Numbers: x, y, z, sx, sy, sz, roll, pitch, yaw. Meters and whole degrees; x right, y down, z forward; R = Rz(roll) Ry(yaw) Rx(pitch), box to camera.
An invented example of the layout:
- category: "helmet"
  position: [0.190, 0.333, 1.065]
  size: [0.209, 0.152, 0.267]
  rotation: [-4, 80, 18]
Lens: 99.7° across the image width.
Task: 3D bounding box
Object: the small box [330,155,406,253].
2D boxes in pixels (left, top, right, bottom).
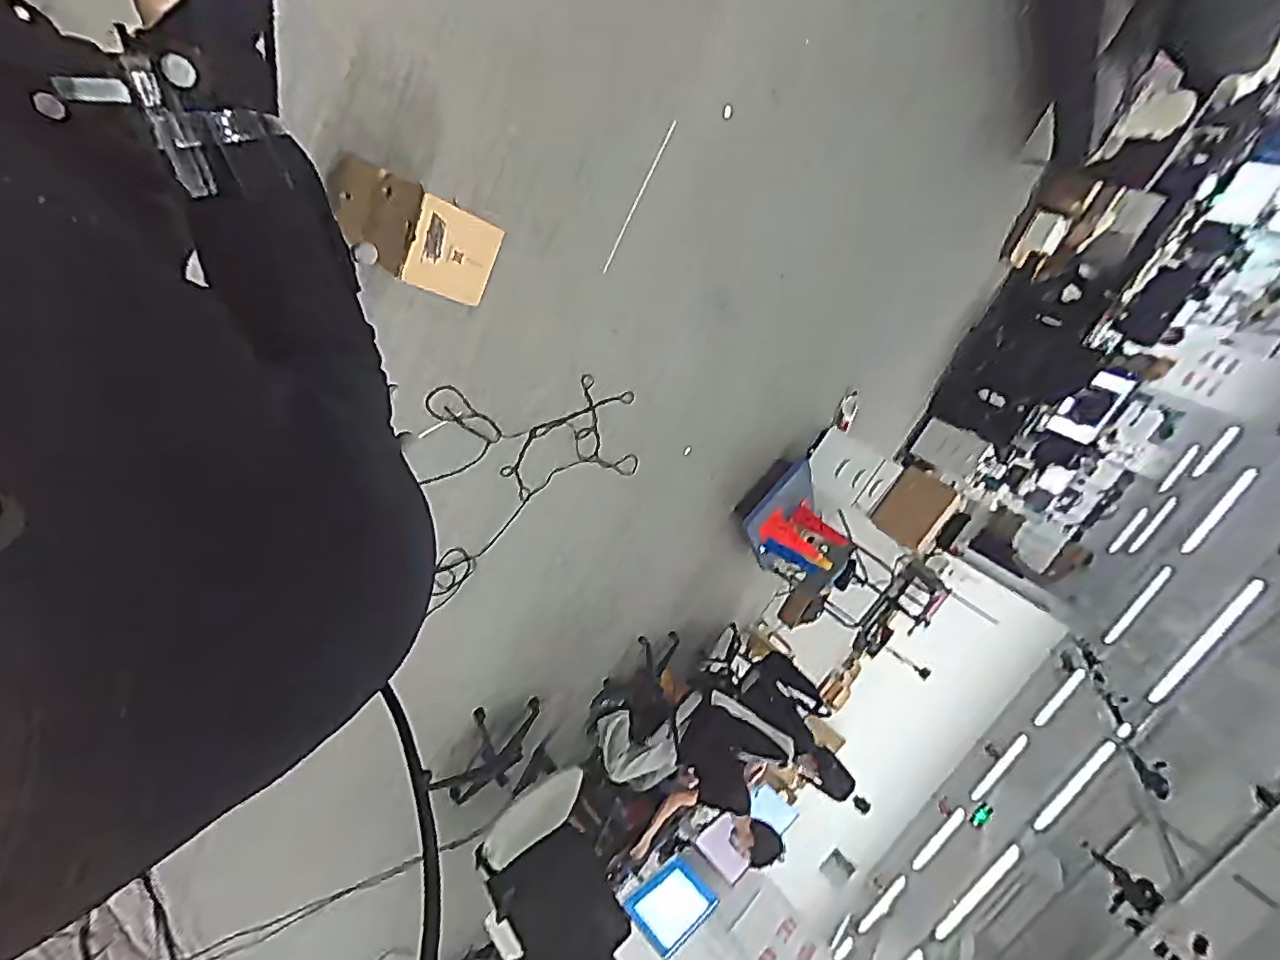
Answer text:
- category: "small box"
  position: [-0.529, -0.569, 1.162]
  size: [0.179, 0.176, 0.168]
  rotation: [3, 118, -52]

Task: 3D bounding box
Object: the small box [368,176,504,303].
- category: "small box"
  position: [-0.412, -0.483, 1.083]
  size: [0.179, 0.176, 0.168]
  rotation: [3, 119, -53]
